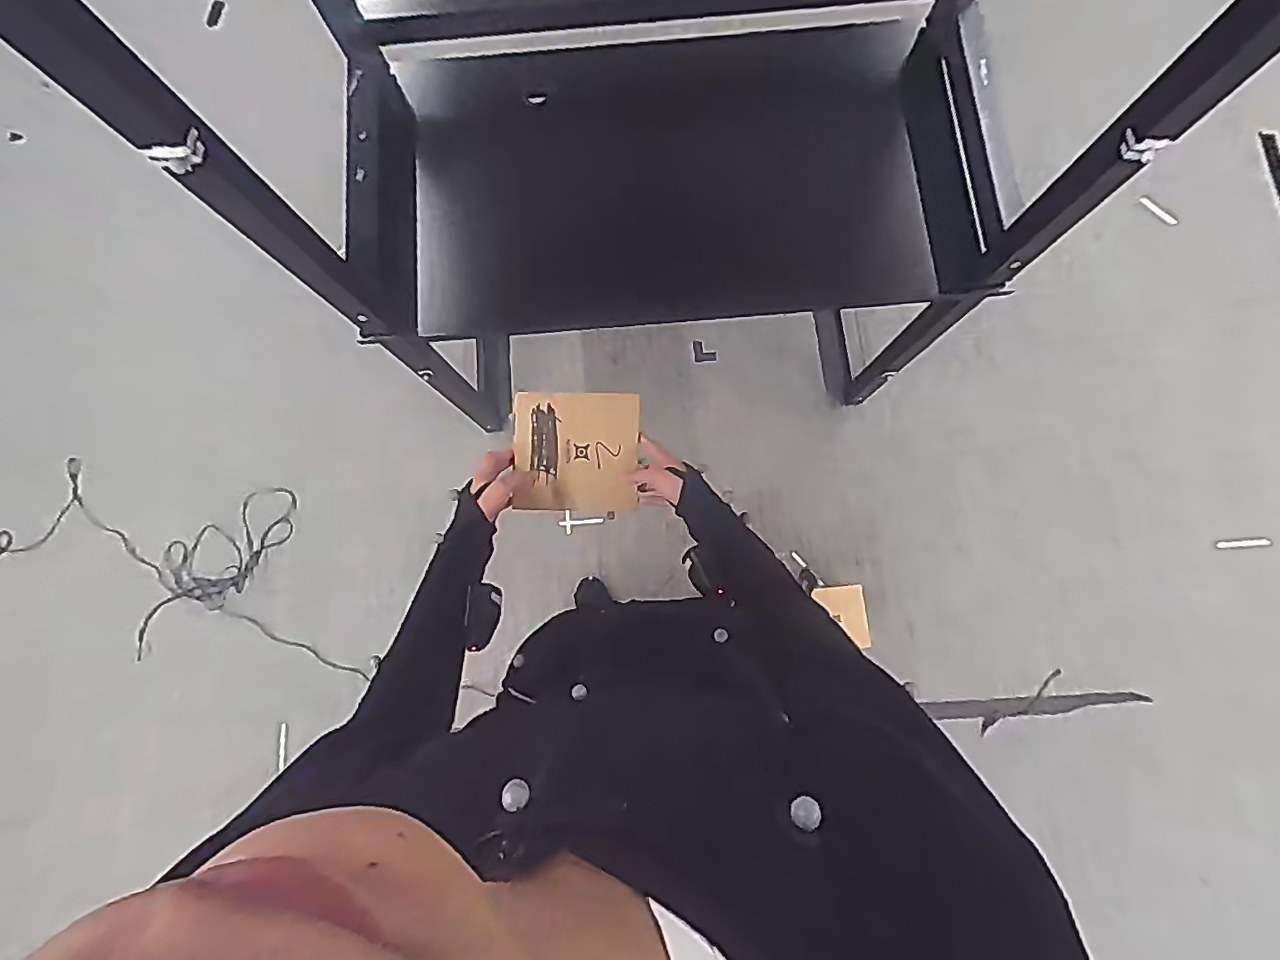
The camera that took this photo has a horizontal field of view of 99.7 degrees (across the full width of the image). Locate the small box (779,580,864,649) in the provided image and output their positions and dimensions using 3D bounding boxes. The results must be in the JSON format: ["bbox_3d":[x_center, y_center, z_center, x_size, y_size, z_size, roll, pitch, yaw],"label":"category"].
[{"bbox_3d":[0.503,0.372,1.521,0.179,0.176,0.168,-5,81,1],"label":"small box"}]
